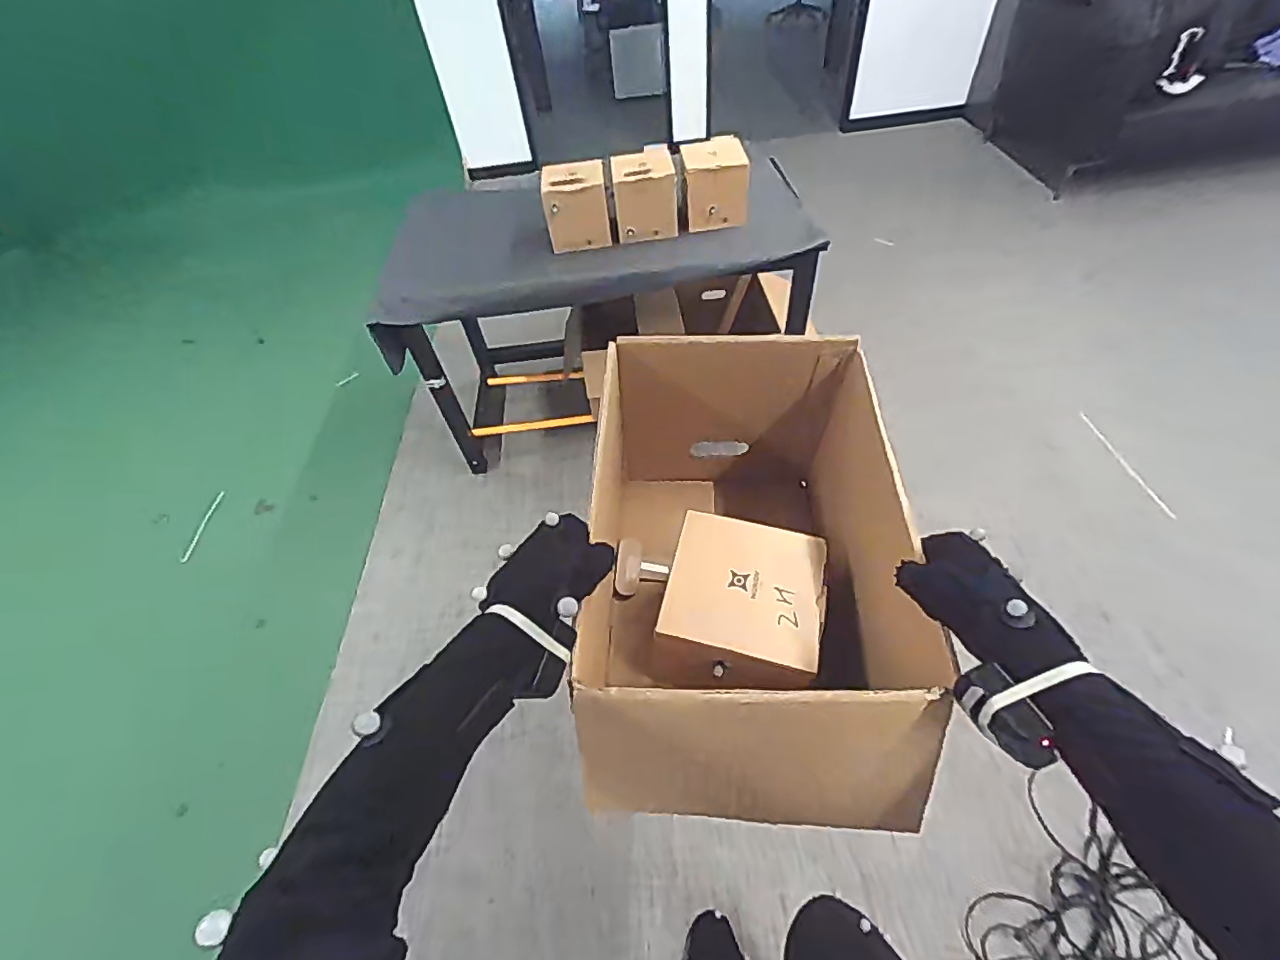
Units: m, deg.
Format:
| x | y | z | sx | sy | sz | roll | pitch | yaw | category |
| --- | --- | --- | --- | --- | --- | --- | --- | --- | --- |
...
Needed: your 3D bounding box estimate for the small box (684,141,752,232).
| x | y | z | sx | sy | sz | roll | pitch | yaw | category |
| --- | --- | --- | --- | --- | --- | --- | --- | --- | --- |
| 0.211 | -0.819 | 1.514 | 0.168 | 0.176 | 0.179 | -6 | 51 | 2 | small box |
